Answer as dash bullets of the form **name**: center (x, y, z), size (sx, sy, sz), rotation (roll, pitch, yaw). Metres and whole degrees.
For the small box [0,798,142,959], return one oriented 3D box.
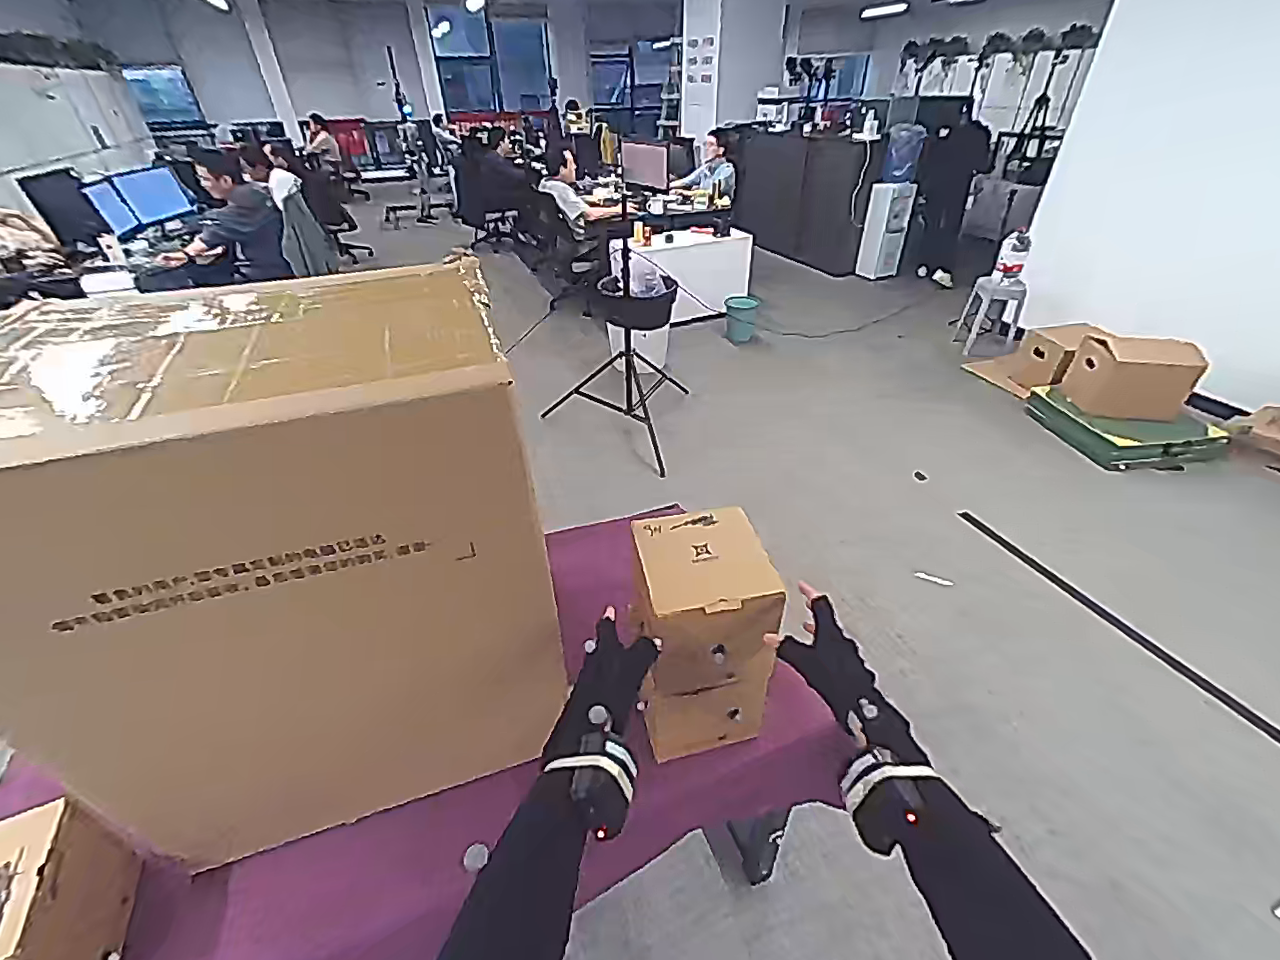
- **small box**: center (-0.703, 0.499, 0.590), size (0.179, 0.176, 0.168), rotation (-16, 37, -21)

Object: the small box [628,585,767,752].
- **small box**: center (0.082, 0.298, 0.847), size (0.168, 0.176, 0.179), rotation (-9, 35, -11)
